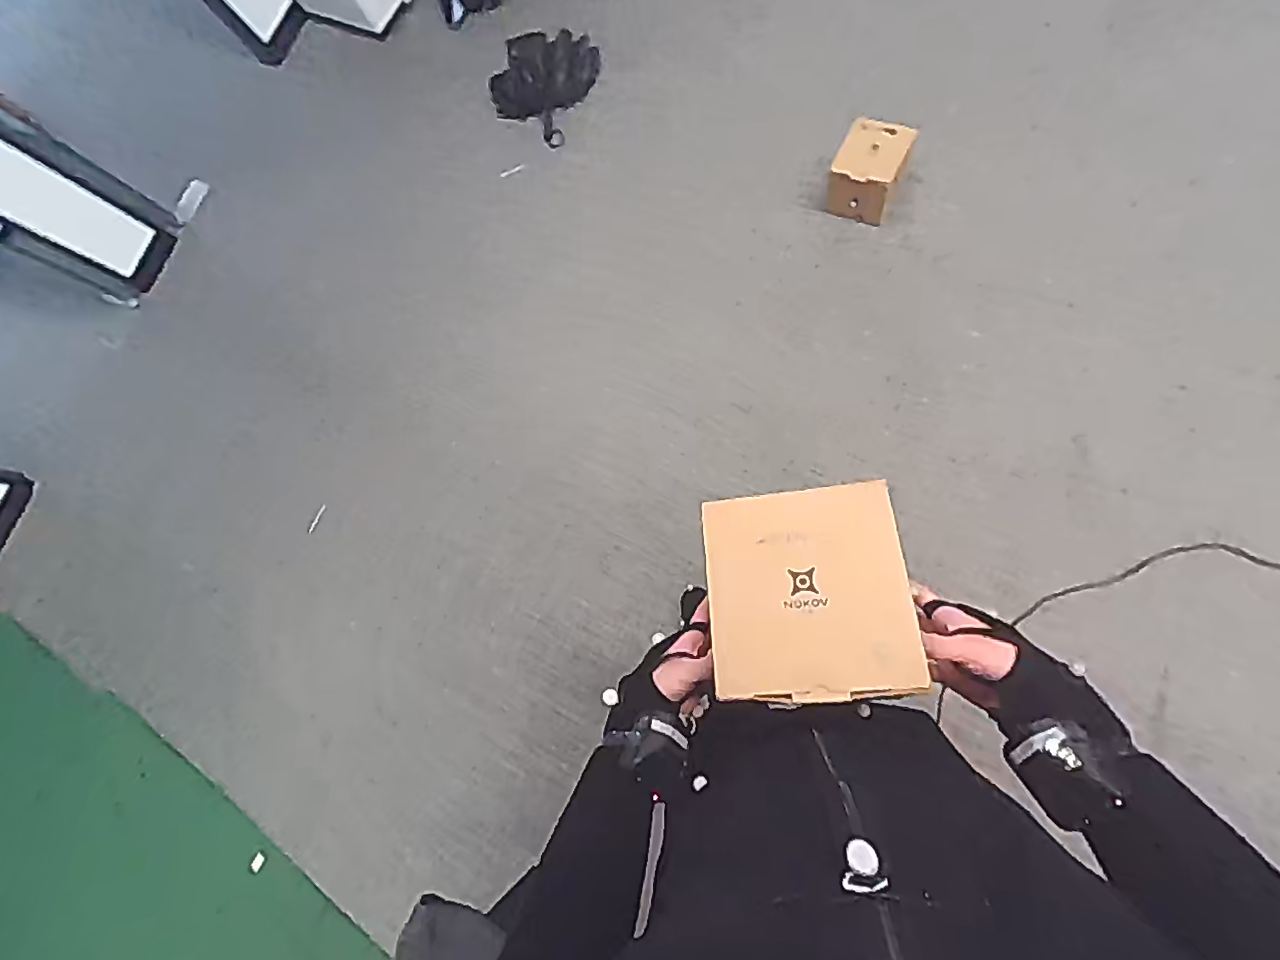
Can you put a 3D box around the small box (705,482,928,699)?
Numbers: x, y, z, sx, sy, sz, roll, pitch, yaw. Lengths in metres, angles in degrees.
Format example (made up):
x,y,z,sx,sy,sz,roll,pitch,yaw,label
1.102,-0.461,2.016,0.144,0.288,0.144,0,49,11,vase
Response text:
x,y,z,sx,sy,sz,roll,pitch,yaw,label
0.163,0.121,0.536,0.168,0.176,0.179,-8,65,13,small box

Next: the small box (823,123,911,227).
x,y,z,sx,sy,sz,roll,pitch,yaw,label
0.628,-0.845,1.512,0.168,0.176,0.179,27,86,20,small box
